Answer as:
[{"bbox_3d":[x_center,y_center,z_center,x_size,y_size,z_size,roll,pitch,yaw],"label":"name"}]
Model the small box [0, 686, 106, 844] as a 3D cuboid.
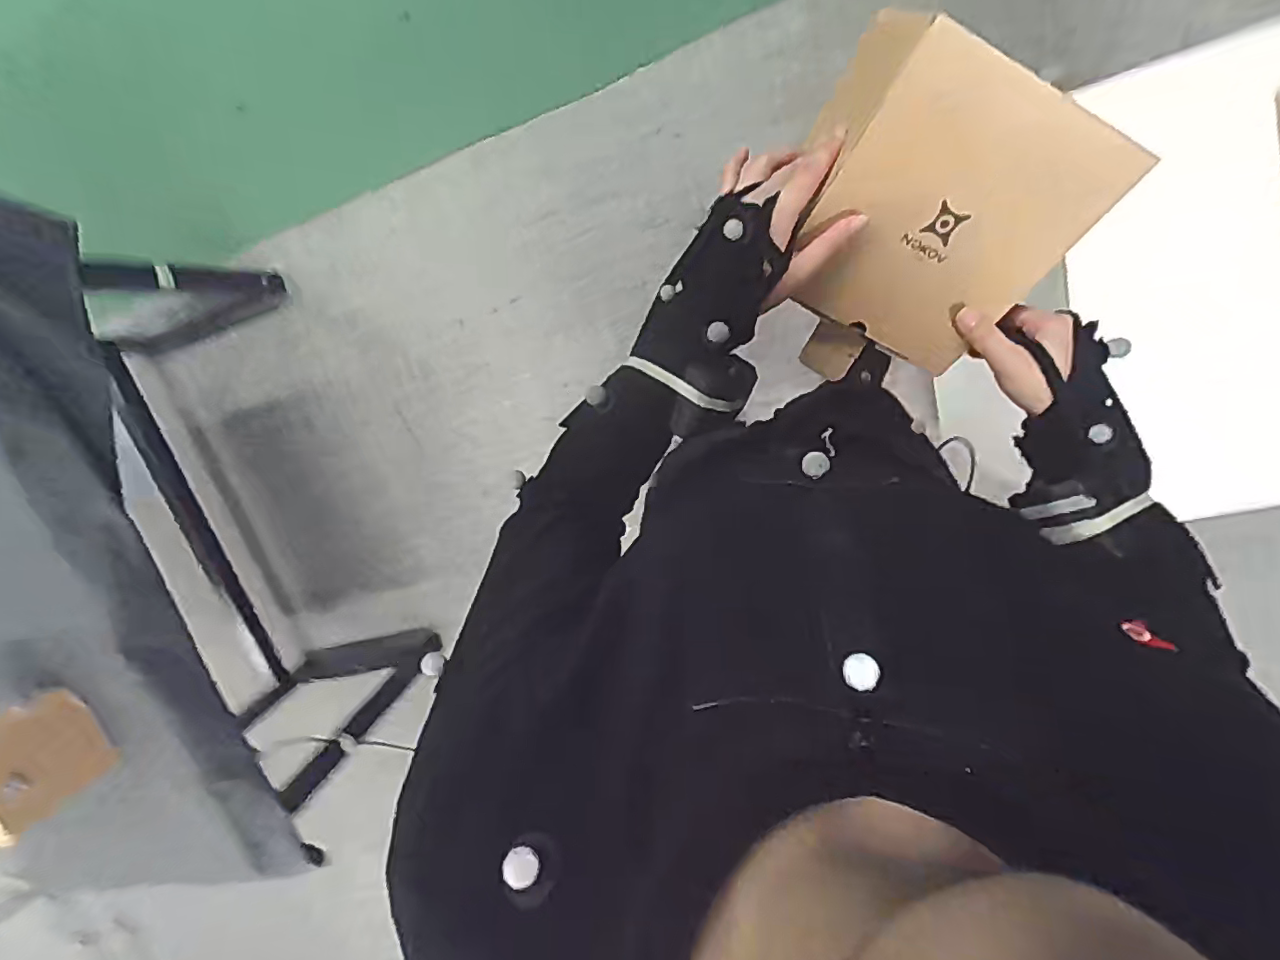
[{"bbox_3d":[-1.072,0.477,0.909,0.168,0.176,0.179,-12,103,13],"label":"small box"}]
